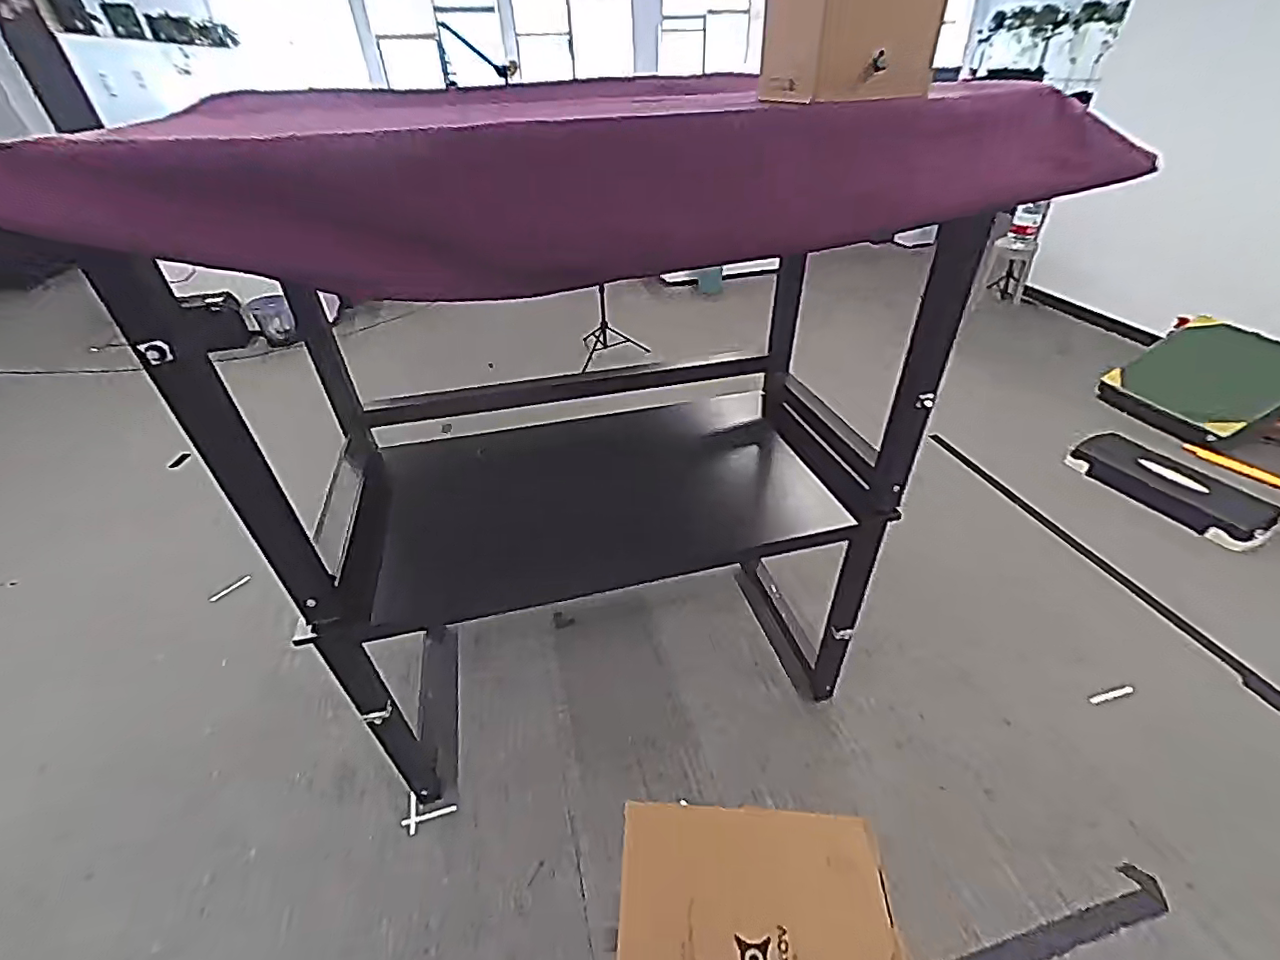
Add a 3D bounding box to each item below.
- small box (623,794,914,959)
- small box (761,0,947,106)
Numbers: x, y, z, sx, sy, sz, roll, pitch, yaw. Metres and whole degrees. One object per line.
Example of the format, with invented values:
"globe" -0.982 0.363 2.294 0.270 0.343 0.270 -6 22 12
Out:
"small box" 0.077 0.341 0.378 0.179 0.176 0.168 1 43 2
"small box" 0.278 -0.605 0.715 0.179 0.176 0.168 -11 37 -11
